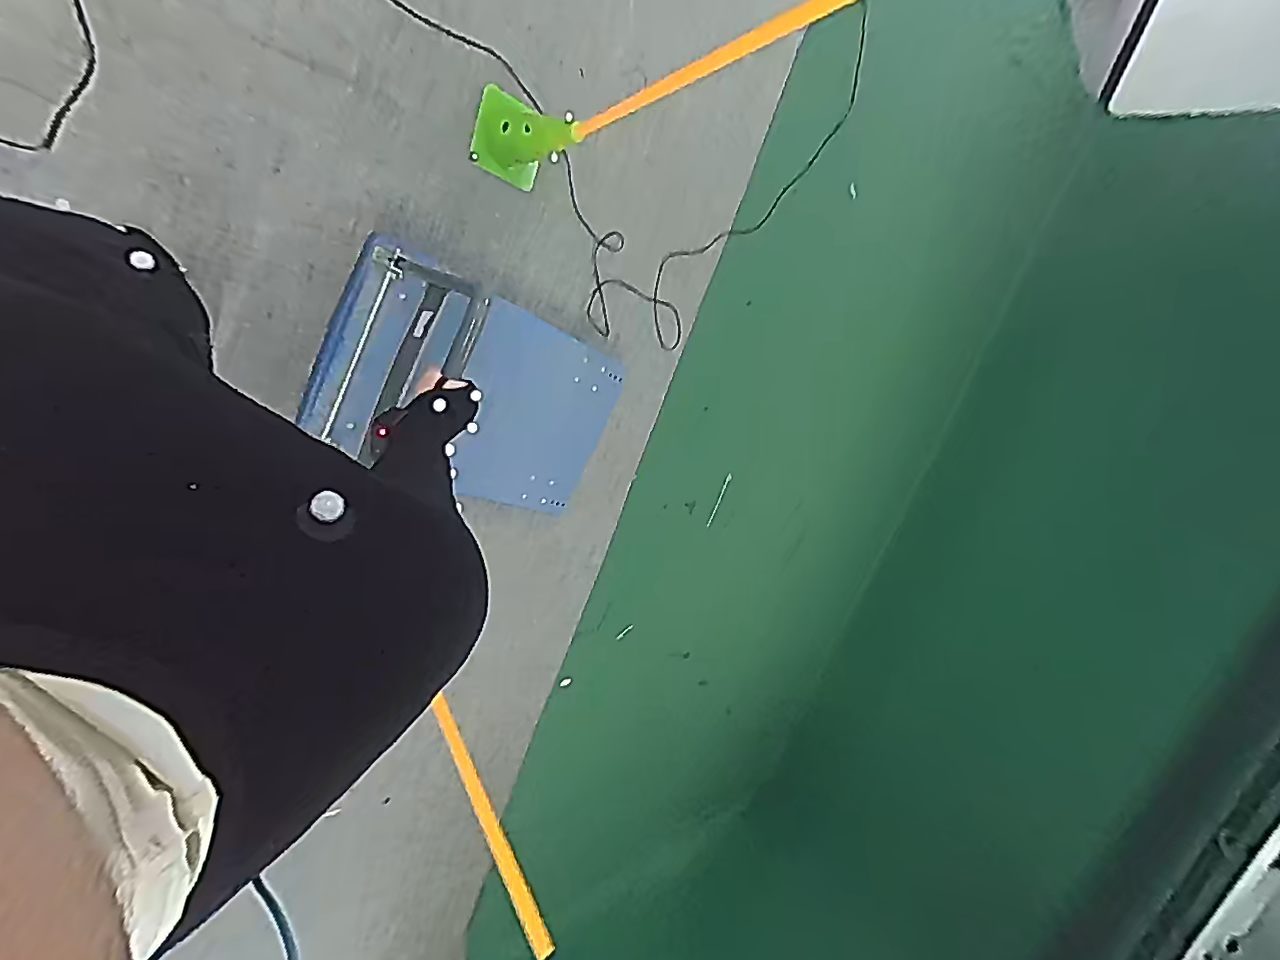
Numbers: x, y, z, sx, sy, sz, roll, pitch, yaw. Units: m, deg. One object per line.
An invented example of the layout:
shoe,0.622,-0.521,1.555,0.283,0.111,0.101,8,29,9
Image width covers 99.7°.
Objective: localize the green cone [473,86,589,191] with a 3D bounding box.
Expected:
green cone,-0.245,-0.876,1.374,0.200,0.368,0.202,5,107,-44
